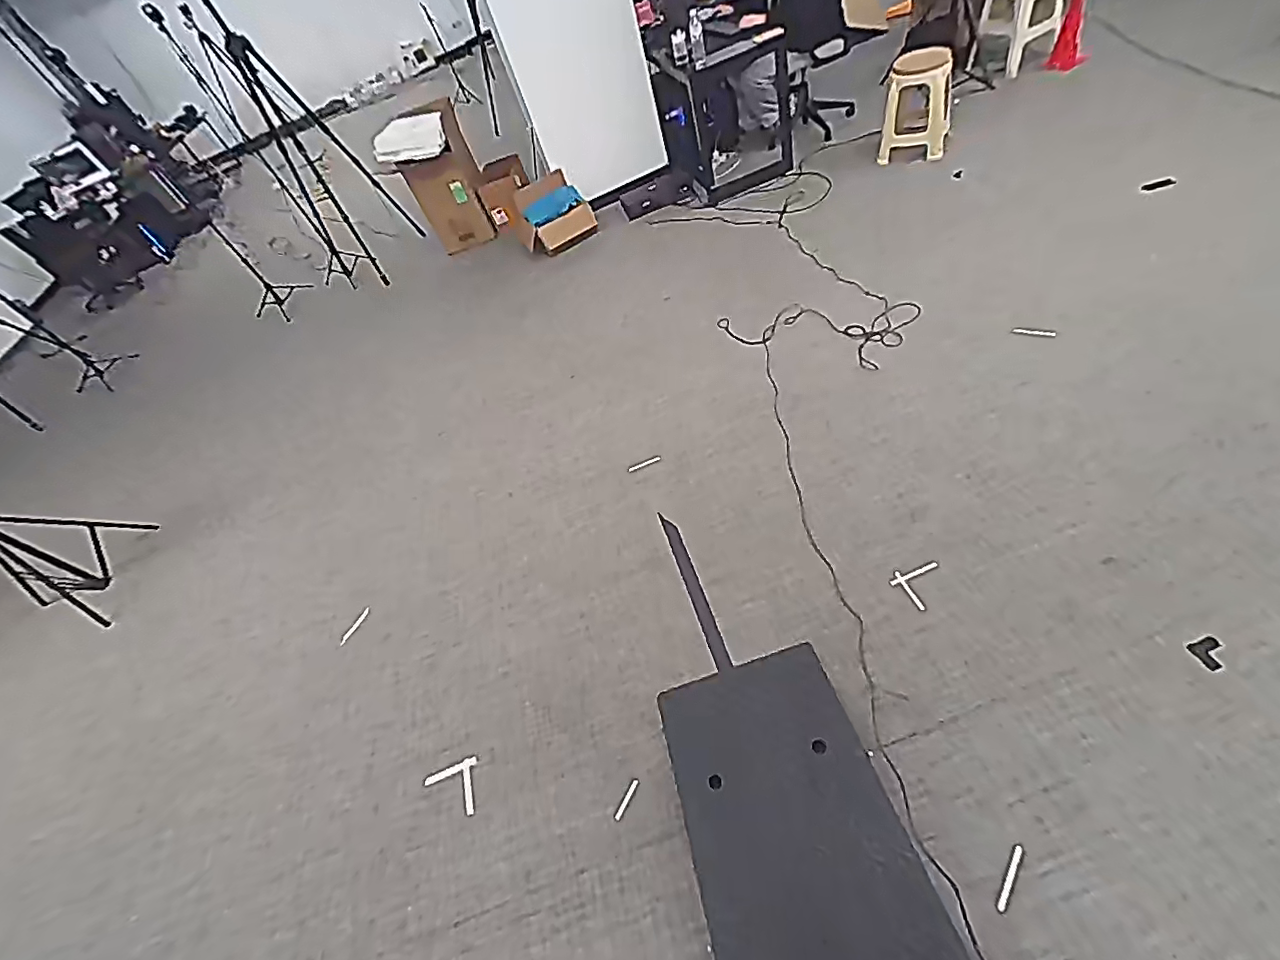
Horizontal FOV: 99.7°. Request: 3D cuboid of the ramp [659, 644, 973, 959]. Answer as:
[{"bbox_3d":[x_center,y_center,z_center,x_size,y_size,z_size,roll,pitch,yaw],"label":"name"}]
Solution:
[{"bbox_3d":[0.367,0.867,1.235,0.509,0.206,0.991,-23,47,3],"label":"ramp"}]
